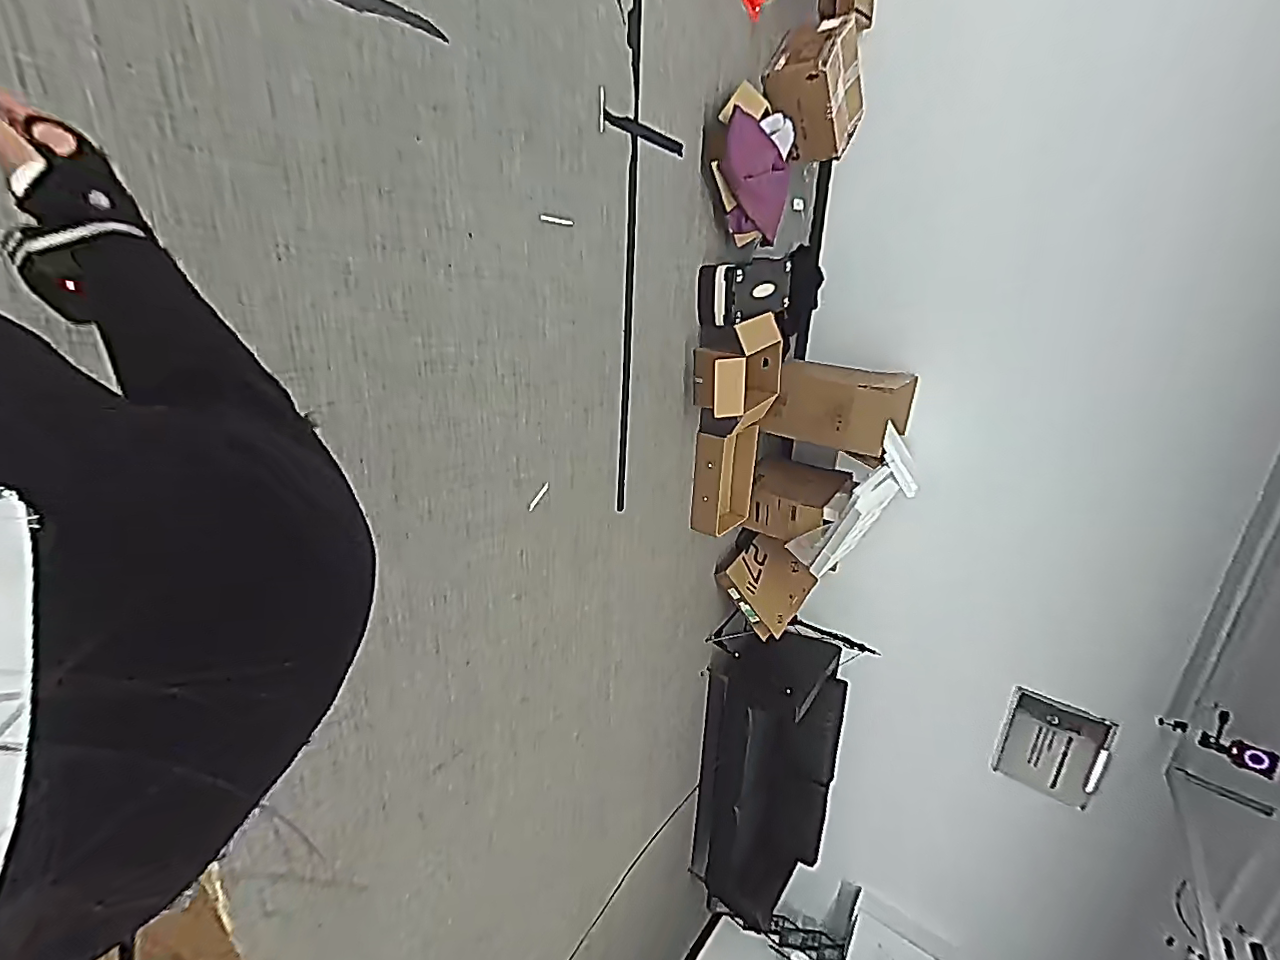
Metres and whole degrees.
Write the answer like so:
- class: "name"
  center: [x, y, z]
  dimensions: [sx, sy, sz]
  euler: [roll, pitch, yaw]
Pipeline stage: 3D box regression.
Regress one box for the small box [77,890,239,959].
- class: "small box"
  center: [-0.560, 0.629, 0.611]
  dimensions: [0.179, 0.176, 0.168]
  euler: [-19, 117, -49]
